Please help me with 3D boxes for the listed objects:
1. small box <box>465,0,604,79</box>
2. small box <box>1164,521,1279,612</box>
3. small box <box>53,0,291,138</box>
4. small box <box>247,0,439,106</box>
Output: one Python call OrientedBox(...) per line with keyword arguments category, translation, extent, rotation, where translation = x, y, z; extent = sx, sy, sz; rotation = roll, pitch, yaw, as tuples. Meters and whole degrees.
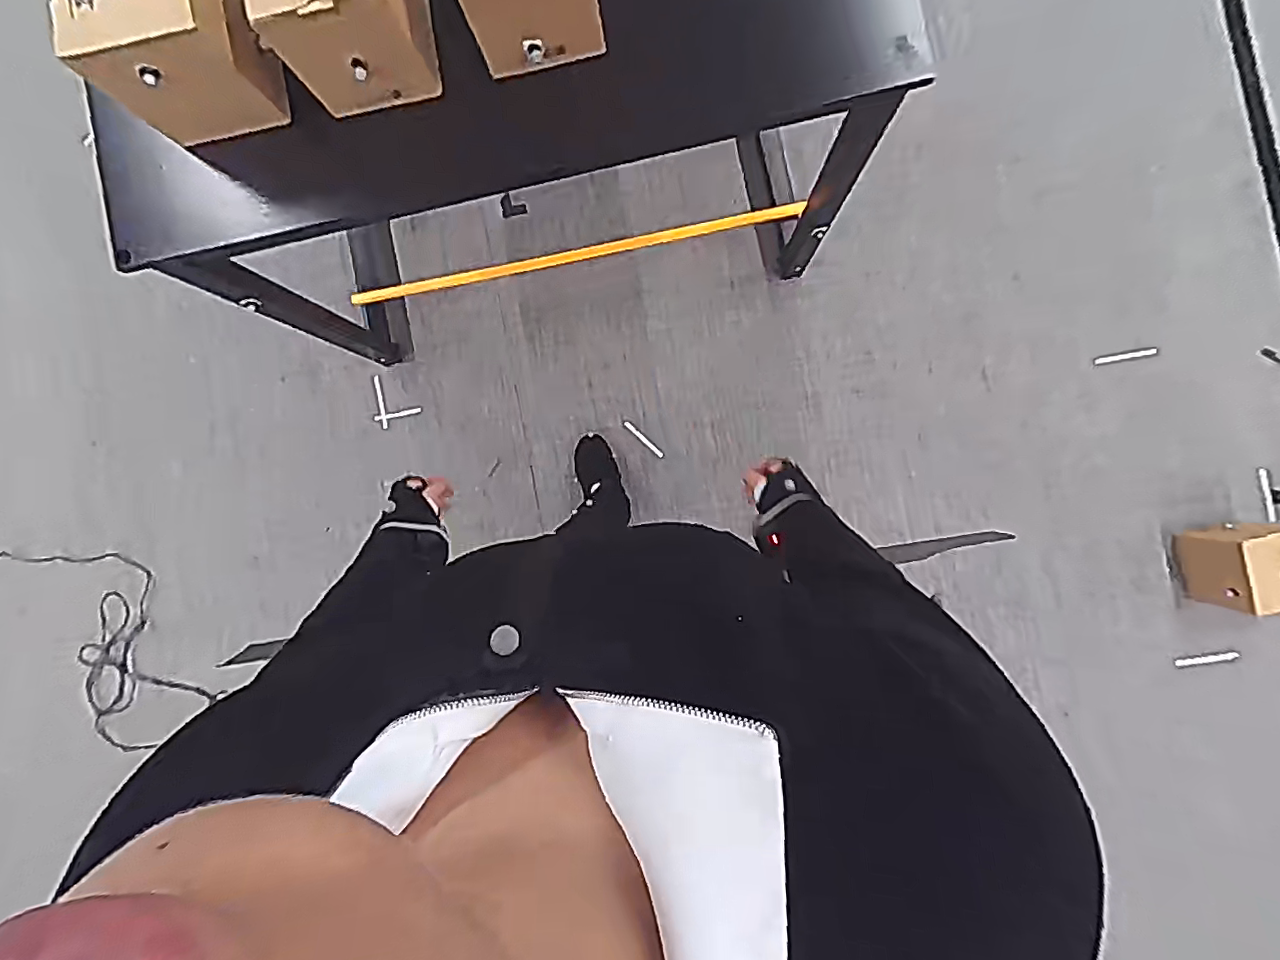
OrientedBox(category="small box", translation=(-0.149, -0.674, 0.696), extent=(0.168, 0.176, 0.179), rotation=(-12, 89, 4))
OrientedBox(category="small box", translation=(1.448, 0.205, 1.319), extent=(0.168, 0.176, 0.179), rotation=(-11, 89, 3))
OrientedBox(category="small box", translation=(-0.612, -0.594, 0.719), extent=(0.179, 0.176, 0.168), rotation=(-10, 89, 2))
OrientedBox(category="small box", translation=(-0.382, -0.629, 0.708), extent=(0.168, 0.176, 0.179), rotation=(-10, 89, 3))
